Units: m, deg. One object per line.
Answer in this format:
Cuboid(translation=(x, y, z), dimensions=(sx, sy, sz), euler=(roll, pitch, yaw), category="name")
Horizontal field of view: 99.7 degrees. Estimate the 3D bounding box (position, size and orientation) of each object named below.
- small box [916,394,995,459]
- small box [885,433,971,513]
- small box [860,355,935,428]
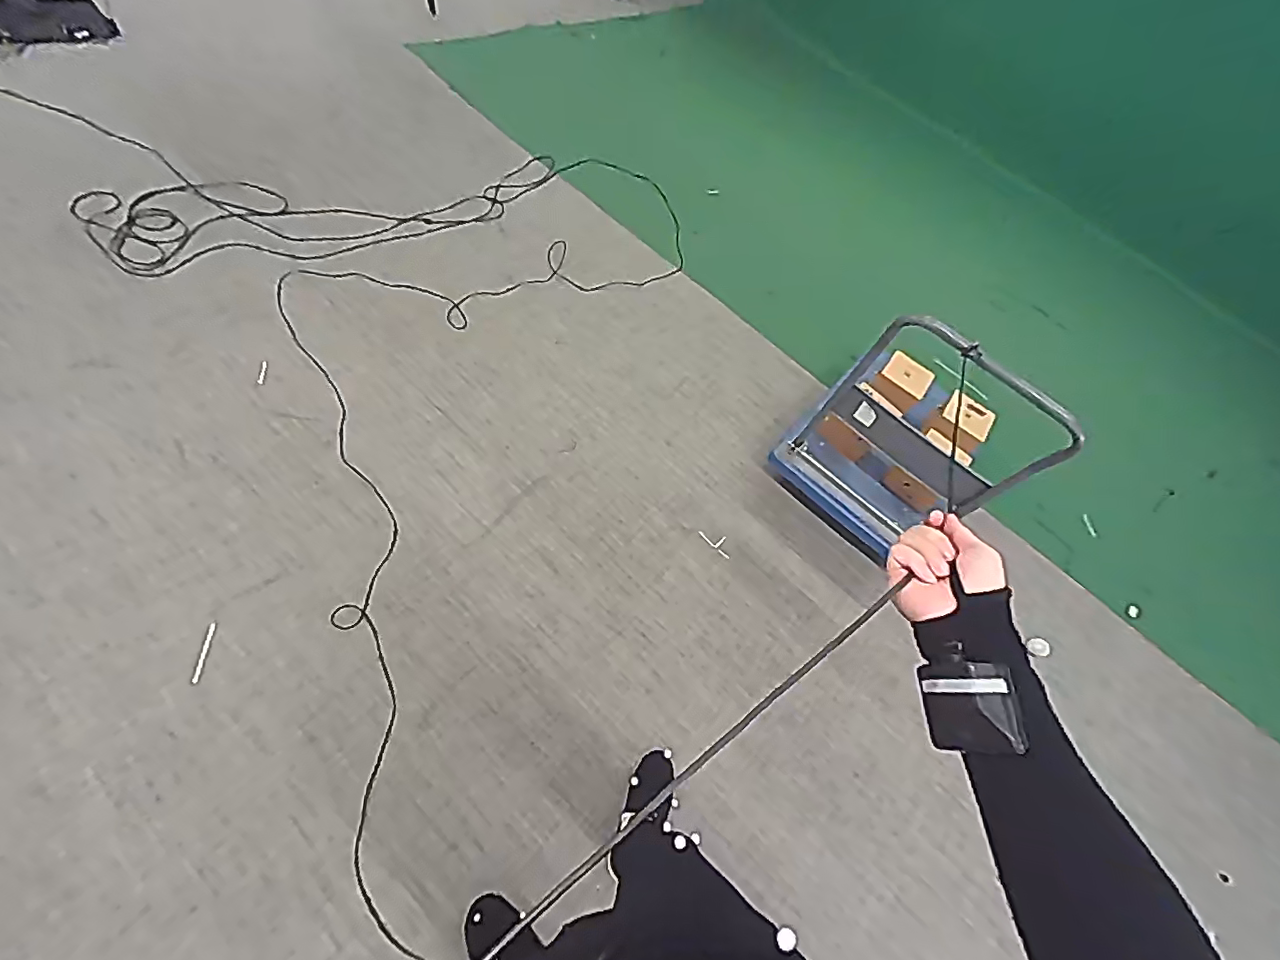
Cuboid(translation=(1.147, -0.173, 1.977), dimensions=(0.168, 0.176, 0.179), euler=(38, 58, 10), category="small box")
Cuboid(translation=(0.973, -0.021, 1.837), dimensions=(0.168, 0.176, 0.179), euler=(43, 59, 12), category="small box")
Cuboid(translation=(0.952, -0.326, 2.019), dimensions=(0.168, 0.176, 0.179), euler=(39, 57, 9), category="small box")
